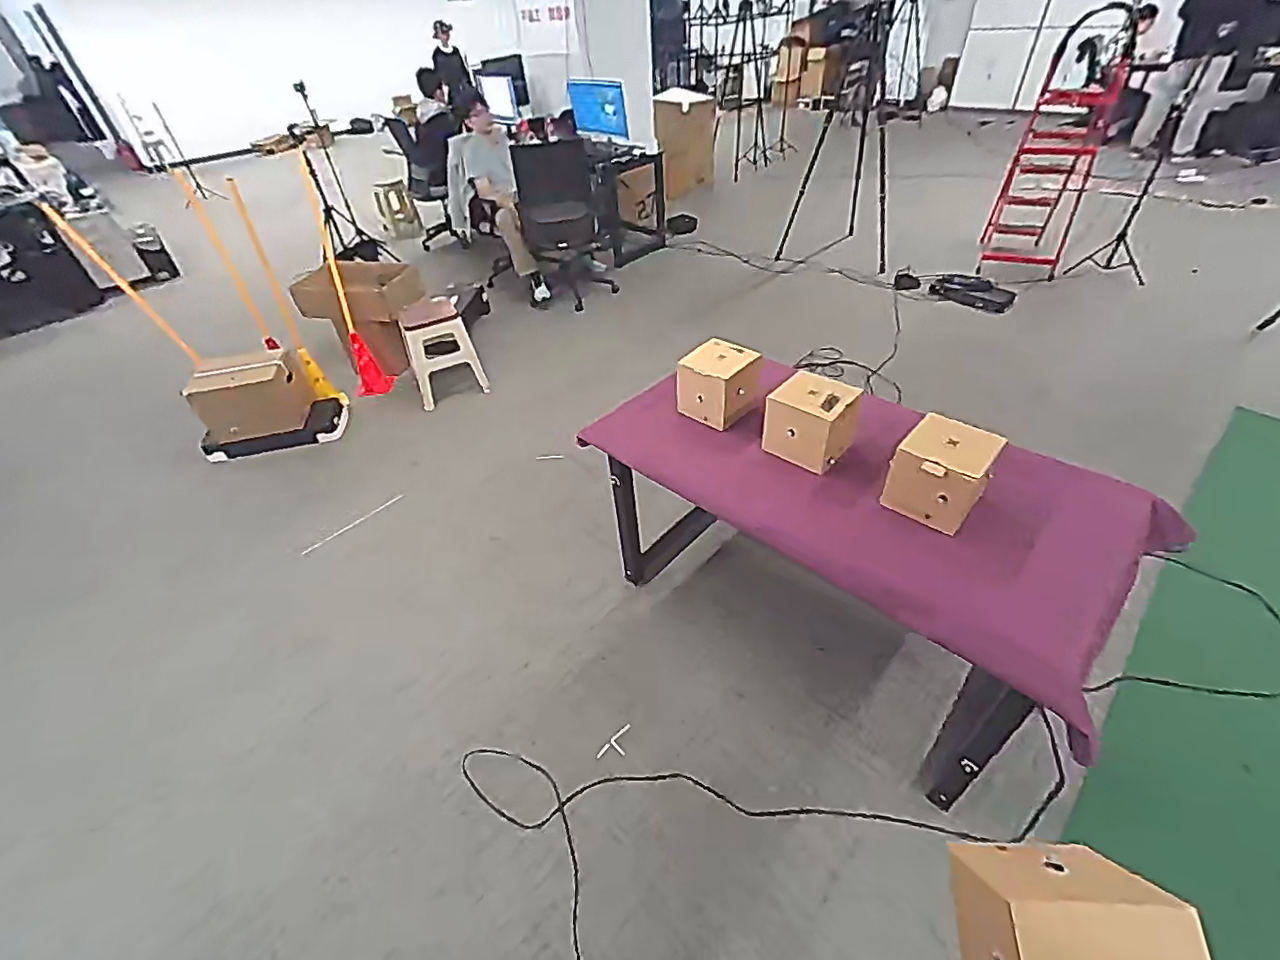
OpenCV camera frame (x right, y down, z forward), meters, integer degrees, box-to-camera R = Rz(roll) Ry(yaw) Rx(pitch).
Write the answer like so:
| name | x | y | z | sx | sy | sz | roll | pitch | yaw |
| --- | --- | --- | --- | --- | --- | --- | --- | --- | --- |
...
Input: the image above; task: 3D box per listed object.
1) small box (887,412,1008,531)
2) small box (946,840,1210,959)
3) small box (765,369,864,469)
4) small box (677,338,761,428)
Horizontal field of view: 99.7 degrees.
| name | x | y | z | sx | sy | sz | roll | pitch | yaw |
| --- | --- | --- | --- | --- | --- | --- | --- | --- | --- |
| small box | 0.670 | -0.017 | 1.197 | 0.168 | 0.176 | 0.179 | 30 | 53 | 33 |
| small box | 0.447 | 0.500 | 0.565 | 0.168 | 0.176 | 0.179 | -4 | 73 | 8 |
| small box | 0.436 | -0.150 | 1.371 | 0.179 | 0.176 | 0.168 | 29 | 52 | 34 |
| small box | 0.226 | -0.273 | 1.531 | 0.168 | 0.176 | 0.179 | 30 | 53 | 32 |
